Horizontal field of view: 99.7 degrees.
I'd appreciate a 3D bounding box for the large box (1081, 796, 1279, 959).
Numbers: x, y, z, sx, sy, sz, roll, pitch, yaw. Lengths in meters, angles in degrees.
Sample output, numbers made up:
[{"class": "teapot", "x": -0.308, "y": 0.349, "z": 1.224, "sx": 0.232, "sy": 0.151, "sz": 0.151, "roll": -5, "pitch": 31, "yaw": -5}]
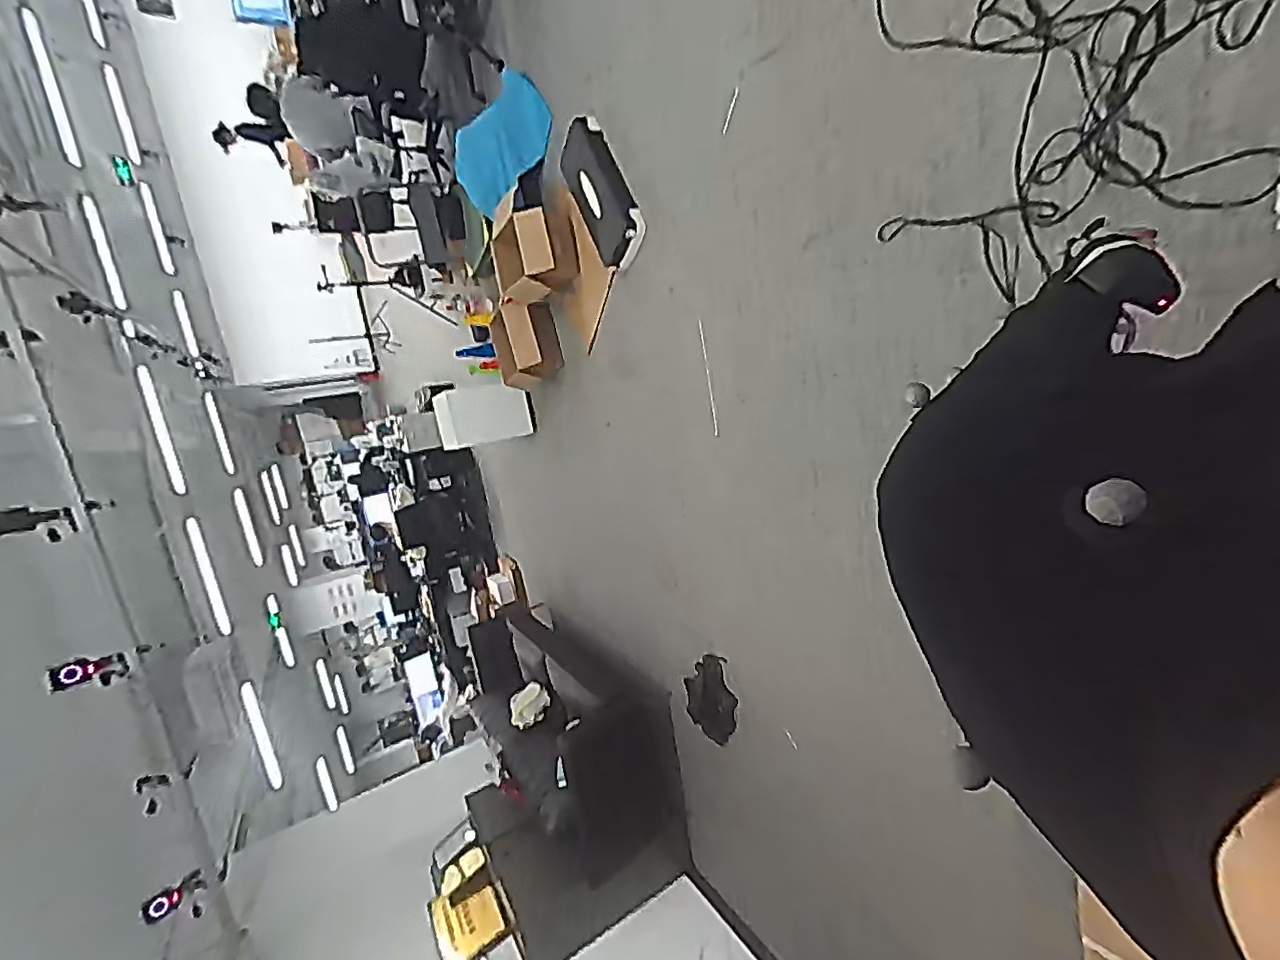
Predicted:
[{"class": "large box", "x": 1.150, "y": 0.901, "z": 1.013, "sx": 0.408, "sy": 0.320, "sz": 0.320, "roll": 4, "pitch": 106, "yaw": 61}]
